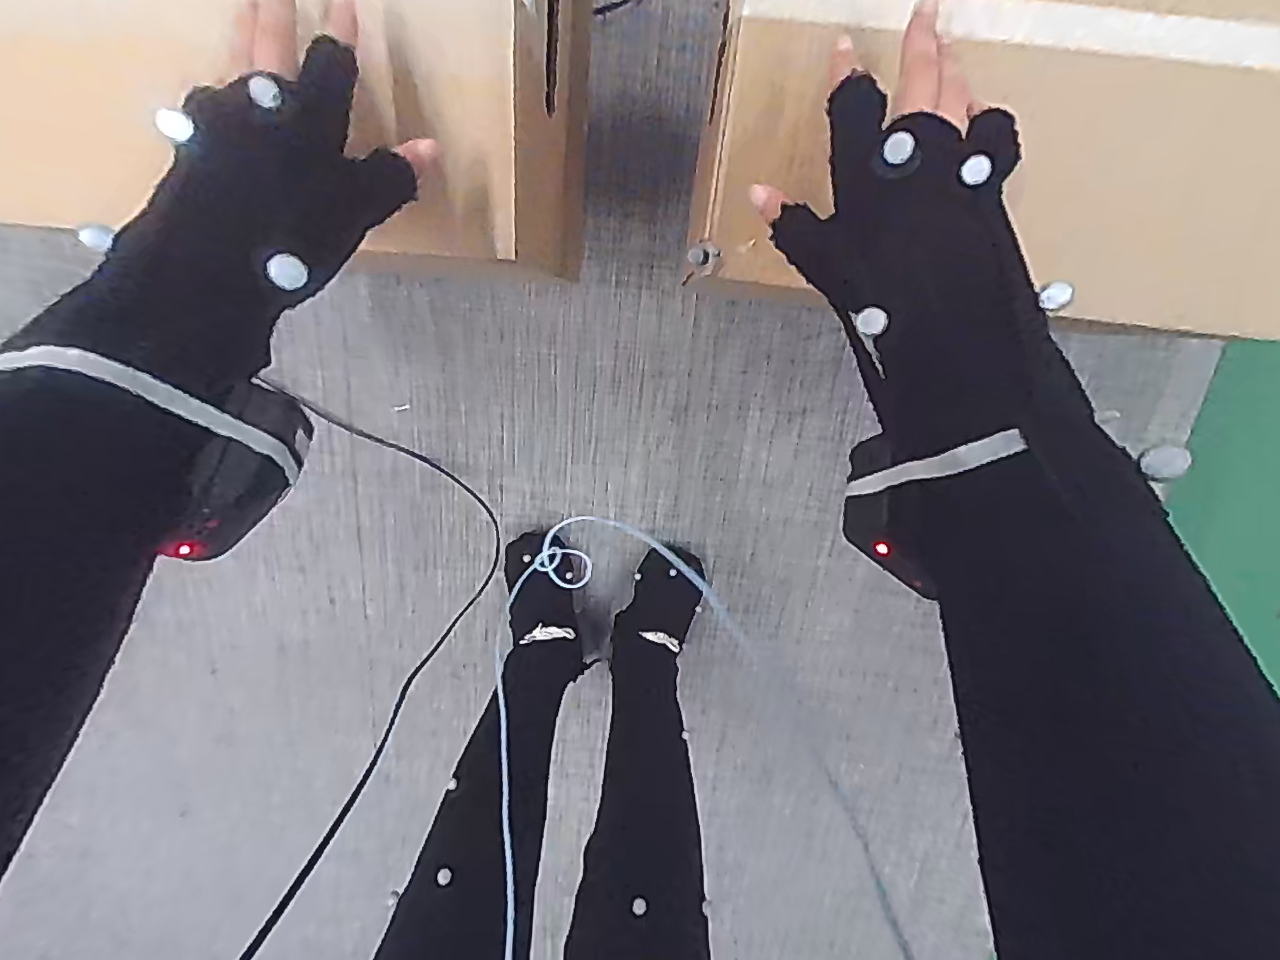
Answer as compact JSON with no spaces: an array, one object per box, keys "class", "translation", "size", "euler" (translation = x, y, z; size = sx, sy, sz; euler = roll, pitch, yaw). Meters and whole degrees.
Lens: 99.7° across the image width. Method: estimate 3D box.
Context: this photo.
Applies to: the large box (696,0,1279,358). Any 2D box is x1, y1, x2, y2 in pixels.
[{"class":"large box","translation":[0.277,-0.301,0.496],"size":[0.408,0.320,0.320],"euler":[7,107,1]}]
